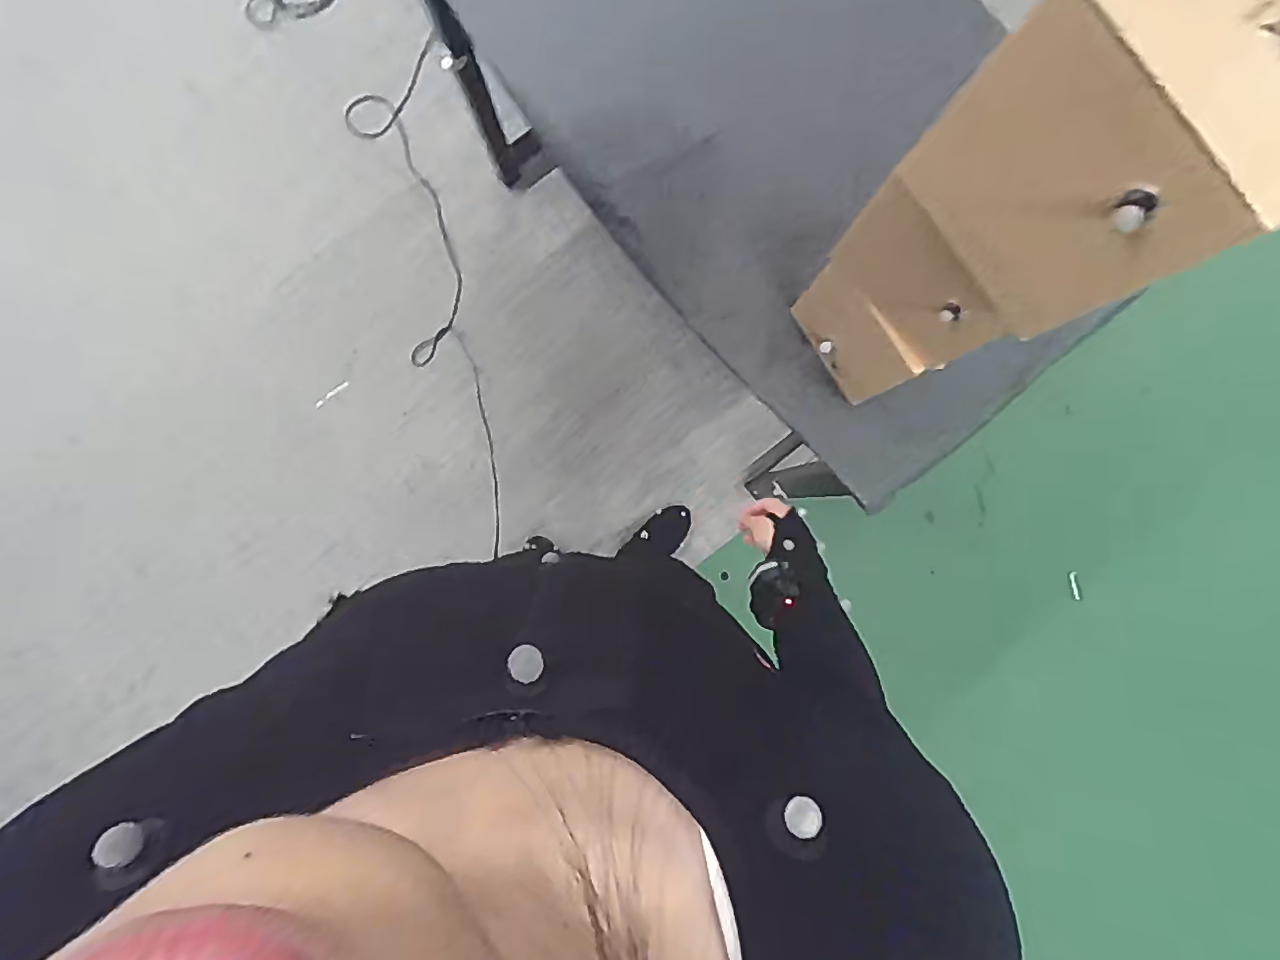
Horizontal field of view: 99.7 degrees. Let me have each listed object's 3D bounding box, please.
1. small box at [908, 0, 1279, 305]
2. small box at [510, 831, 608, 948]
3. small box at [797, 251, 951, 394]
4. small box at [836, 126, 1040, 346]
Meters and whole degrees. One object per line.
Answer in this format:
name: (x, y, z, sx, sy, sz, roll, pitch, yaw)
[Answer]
small box: (0.326, -0.241, 0.355, 0.168, 0.176, 0.179, -35, 87, -5)
small box: (-0.196, 1.044, 1.362, 0.179, 0.176, 0.168, -34, 87, -2)
small box: (0.331, -0.233, 0.683, 0.179, 0.176, 0.168, -32, 87, -3)
small box: (0.329, -0.253, 0.522, 0.168, 0.176, 0.179, -40, 87, -5)
